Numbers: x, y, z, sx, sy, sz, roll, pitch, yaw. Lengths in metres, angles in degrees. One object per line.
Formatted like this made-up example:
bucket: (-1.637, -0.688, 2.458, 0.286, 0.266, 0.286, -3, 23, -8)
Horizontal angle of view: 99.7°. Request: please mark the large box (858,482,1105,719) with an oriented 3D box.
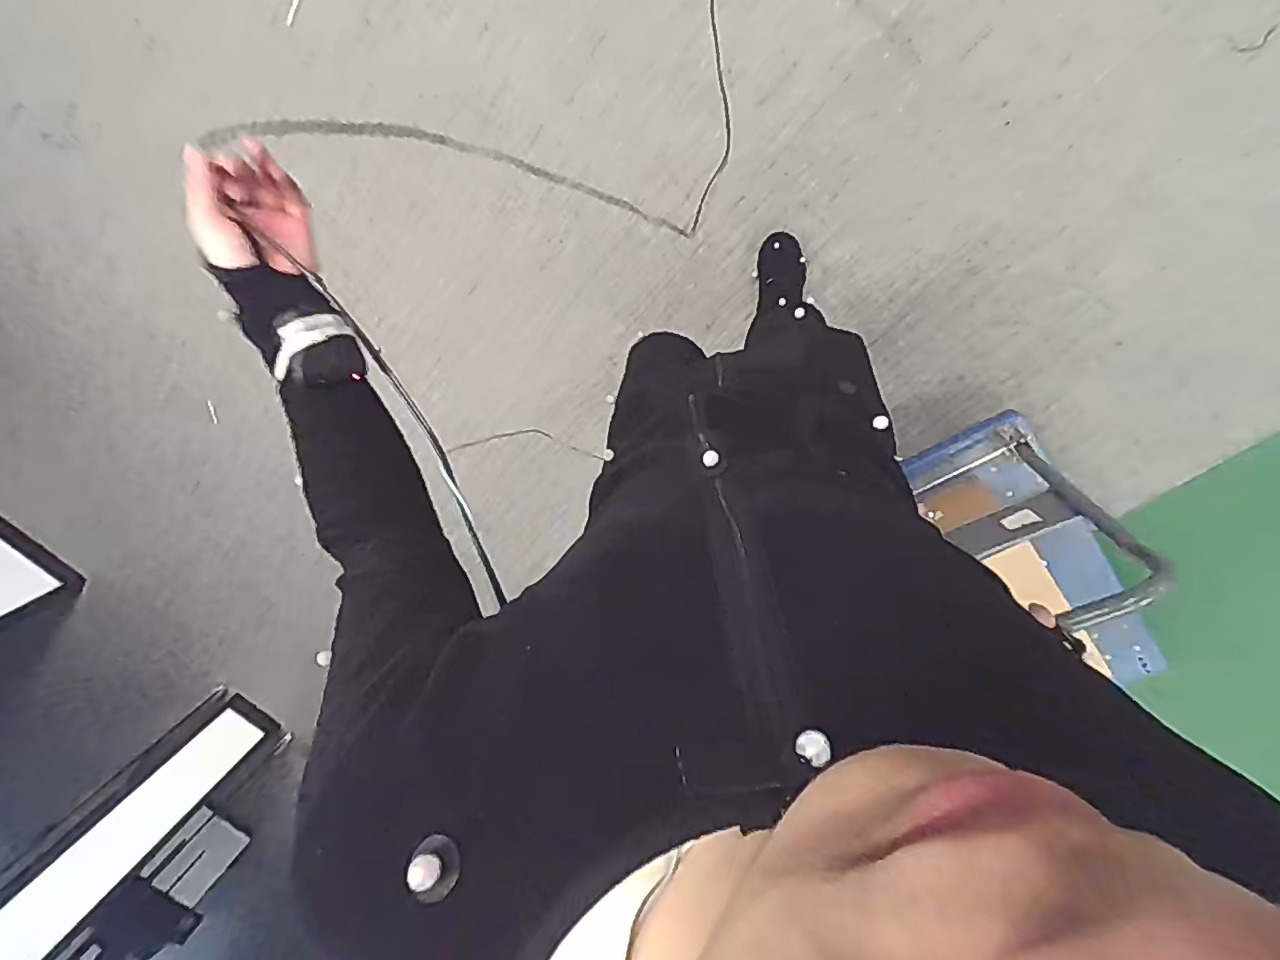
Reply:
large box: (0.794, 0.284, 1.316, 0.320, 0.320, 0.408, -33, 103, 25)
